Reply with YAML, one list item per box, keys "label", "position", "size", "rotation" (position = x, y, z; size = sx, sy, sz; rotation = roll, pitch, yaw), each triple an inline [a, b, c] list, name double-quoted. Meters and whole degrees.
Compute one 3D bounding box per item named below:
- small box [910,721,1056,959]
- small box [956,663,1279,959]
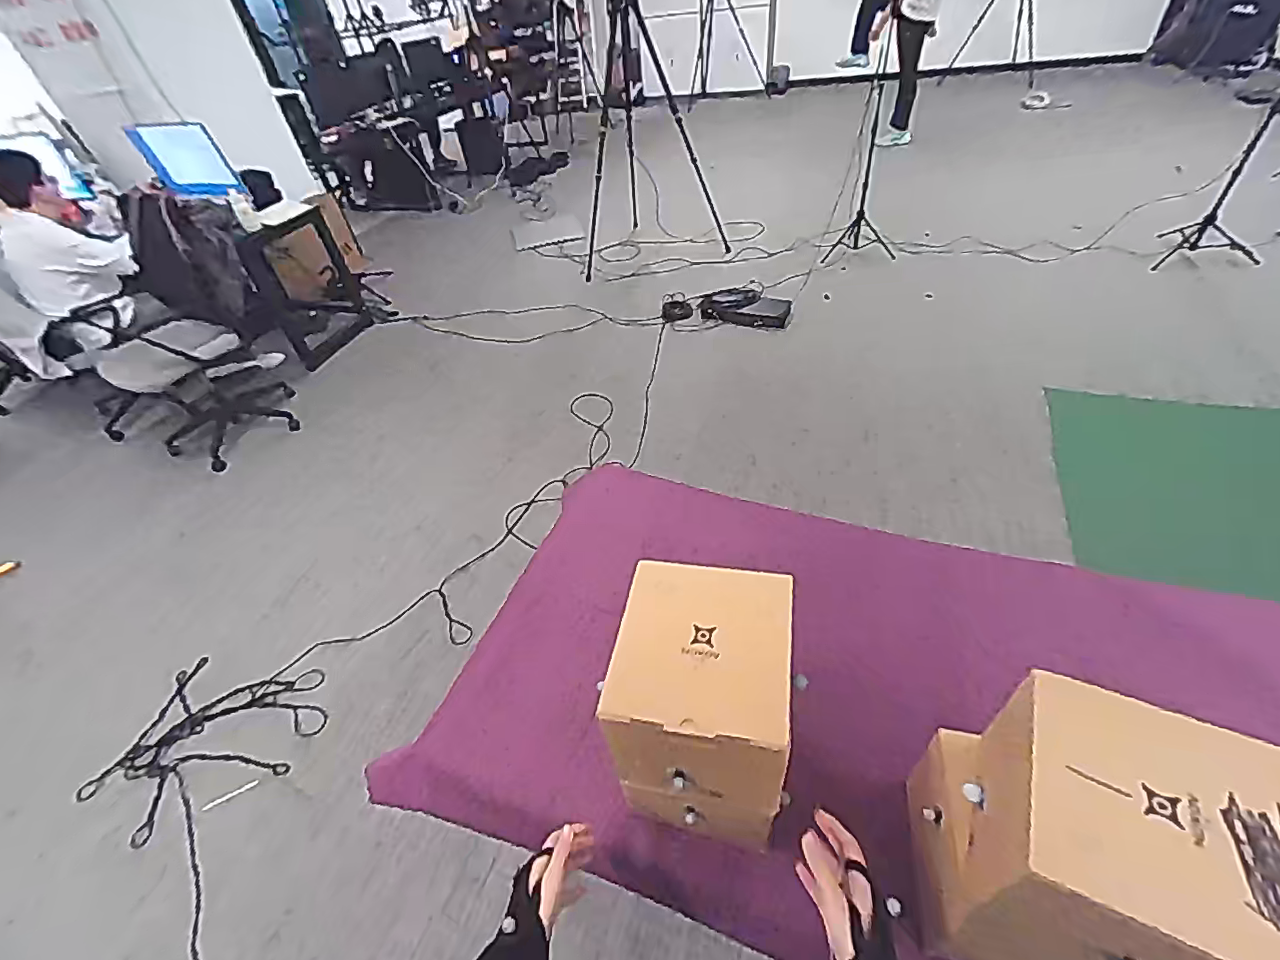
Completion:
- label: "small box"
  position: [0.392, 0.386, 0.563]
  size: [0.168, 0.176, 0.179]
  rotation: [5, 45, 15]
- label: "small box"
  position: [0.380, 0.285, 0.430]
  size: [0.179, 0.176, 0.168]
  rotation: [16, 48, 25]
